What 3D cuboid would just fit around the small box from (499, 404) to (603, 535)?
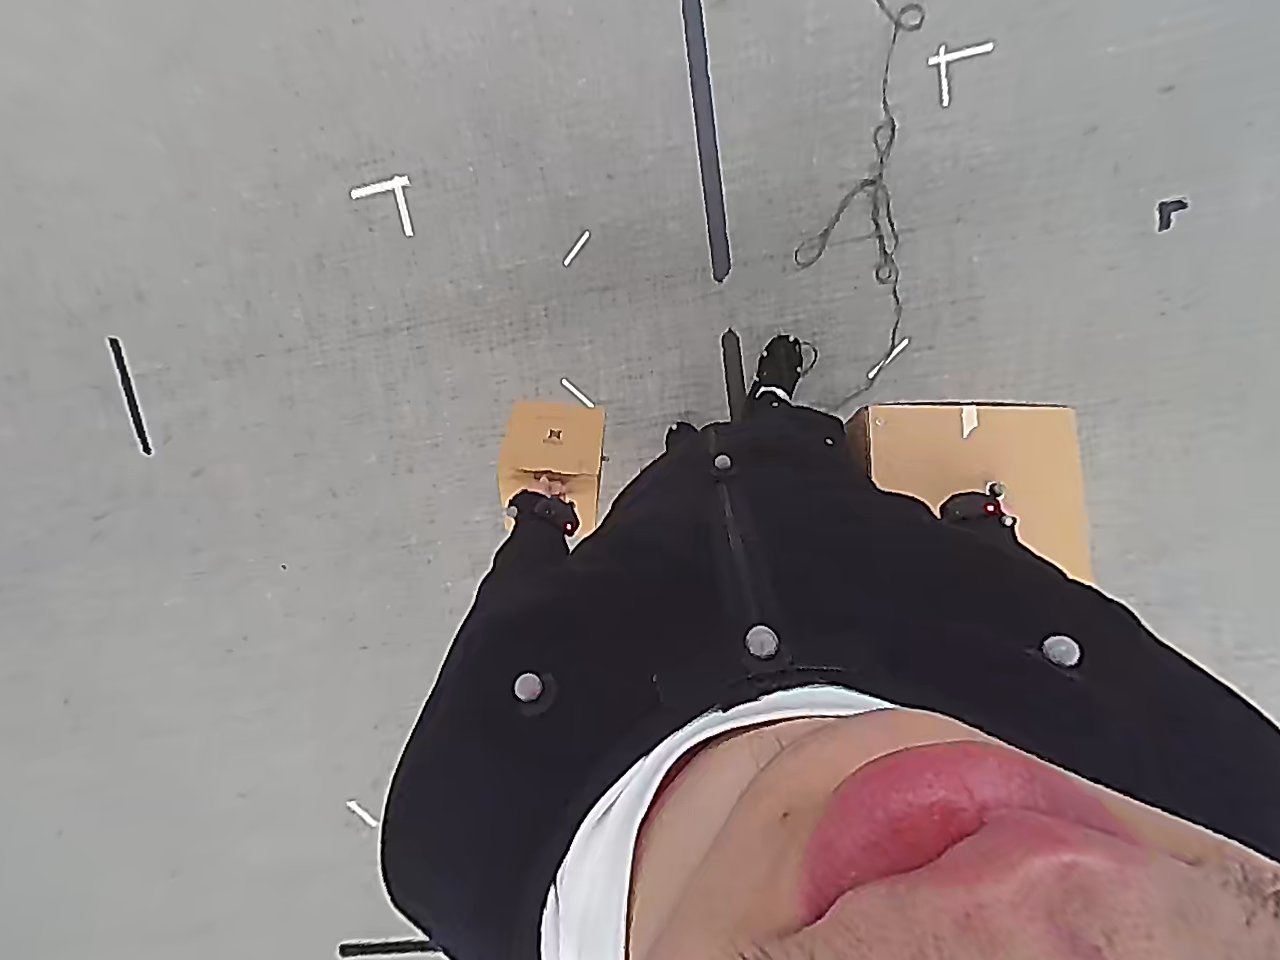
[{"bbox_3d":[-0.157,-0.016,0.996,0.168,0.179,0.176,4,136,-5],"label":"small box"}]
